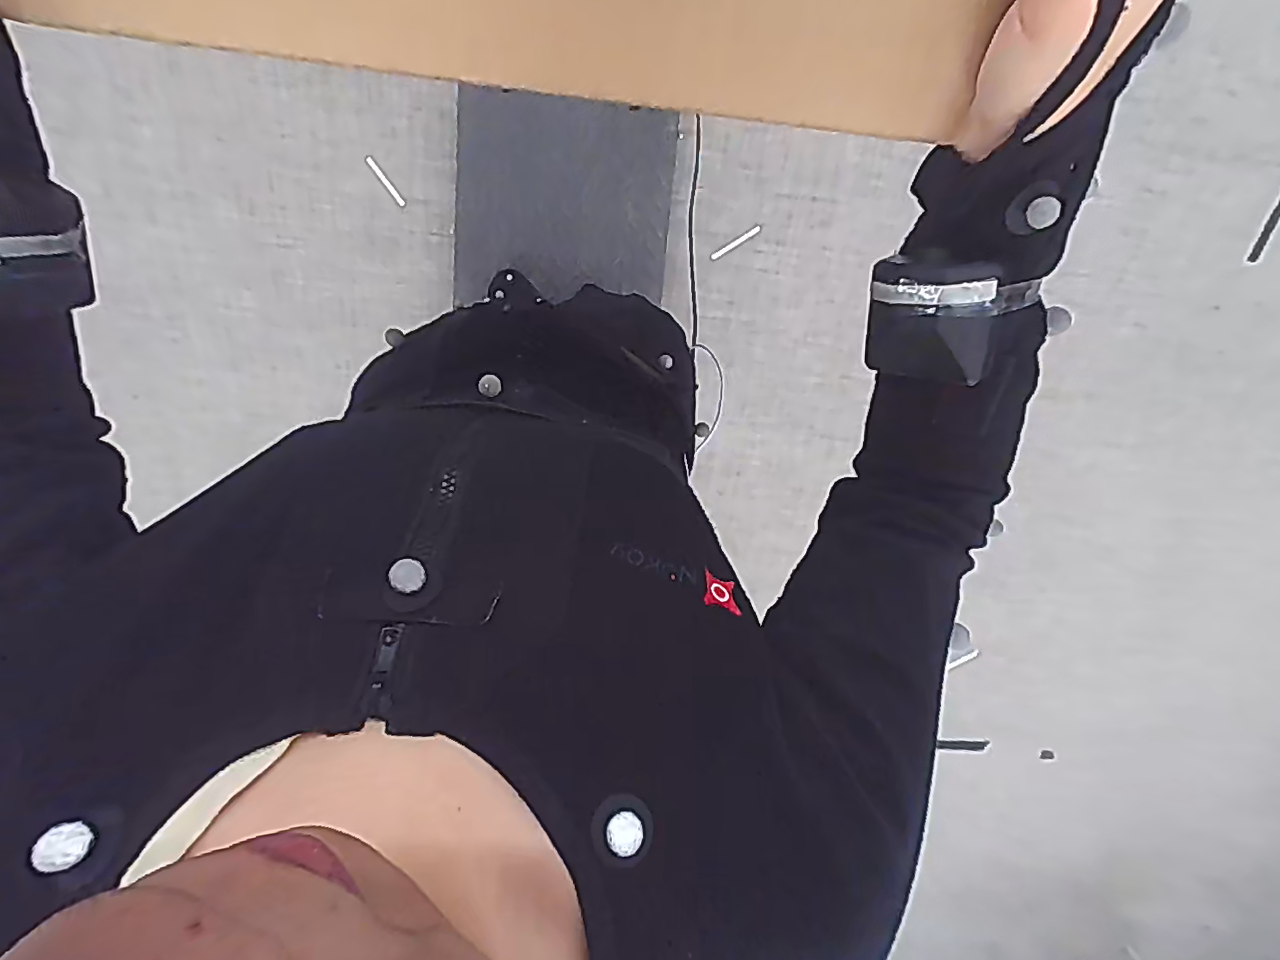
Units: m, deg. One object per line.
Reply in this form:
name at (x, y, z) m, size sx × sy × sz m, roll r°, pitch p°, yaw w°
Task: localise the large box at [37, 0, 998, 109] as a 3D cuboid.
large box at (-0.043, -0.394, 0.237) m, size 0.408 × 0.320 × 0.320 m, roll 3°, pitch 135°, yaw -6°
